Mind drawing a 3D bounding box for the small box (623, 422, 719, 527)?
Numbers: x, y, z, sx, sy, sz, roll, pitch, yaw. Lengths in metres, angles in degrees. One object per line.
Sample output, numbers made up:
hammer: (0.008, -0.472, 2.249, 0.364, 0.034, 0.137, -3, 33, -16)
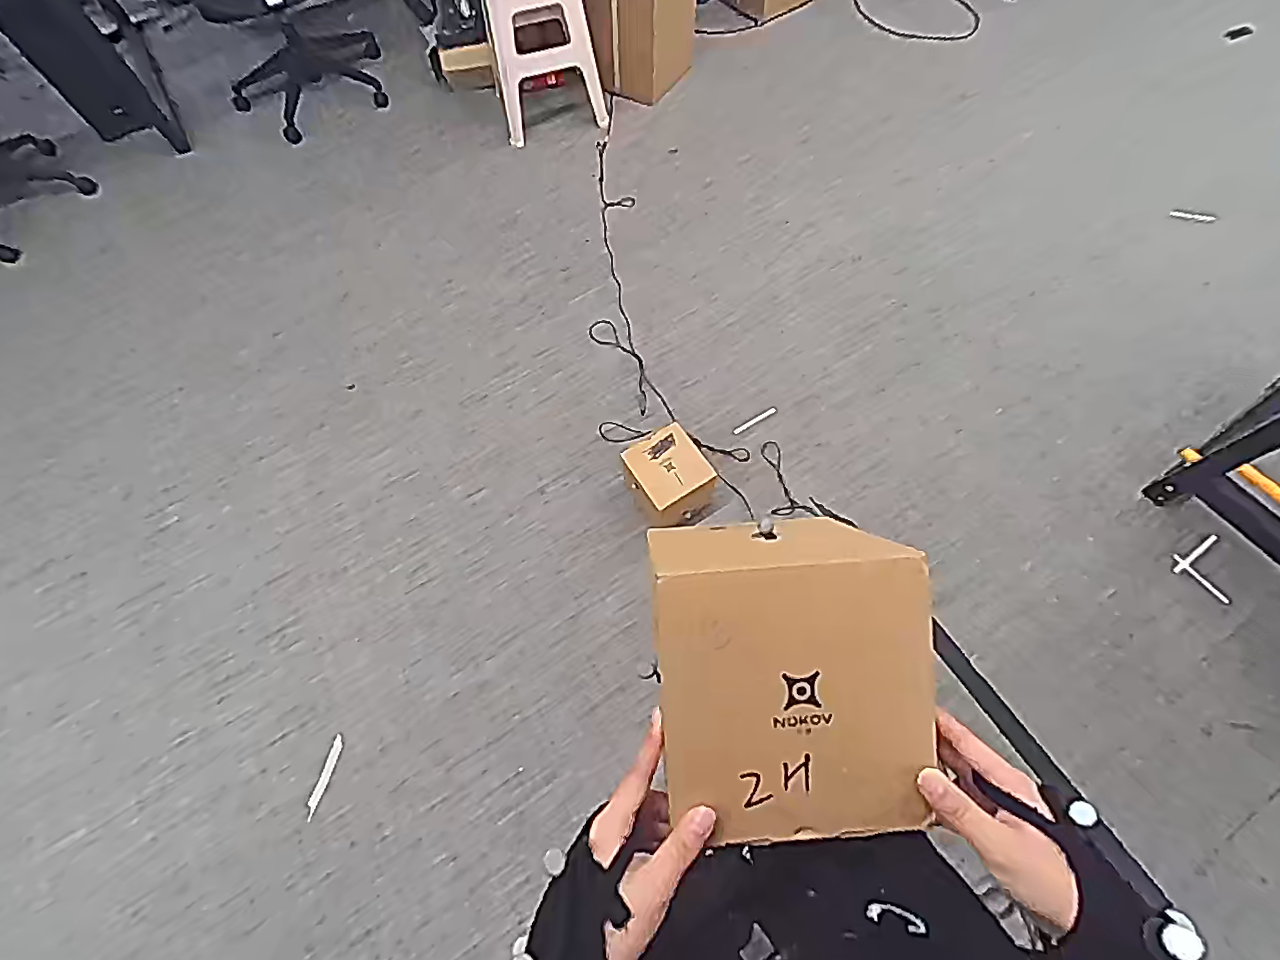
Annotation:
small box: (0.073, -0.005, 1.340, 0.168, 0.176, 0.179, -31, 68, -11)

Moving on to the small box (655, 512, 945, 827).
small box: (0.100, 0.118, 0.407, 0.168, 0.176, 0.179, -3, 93, 0)
